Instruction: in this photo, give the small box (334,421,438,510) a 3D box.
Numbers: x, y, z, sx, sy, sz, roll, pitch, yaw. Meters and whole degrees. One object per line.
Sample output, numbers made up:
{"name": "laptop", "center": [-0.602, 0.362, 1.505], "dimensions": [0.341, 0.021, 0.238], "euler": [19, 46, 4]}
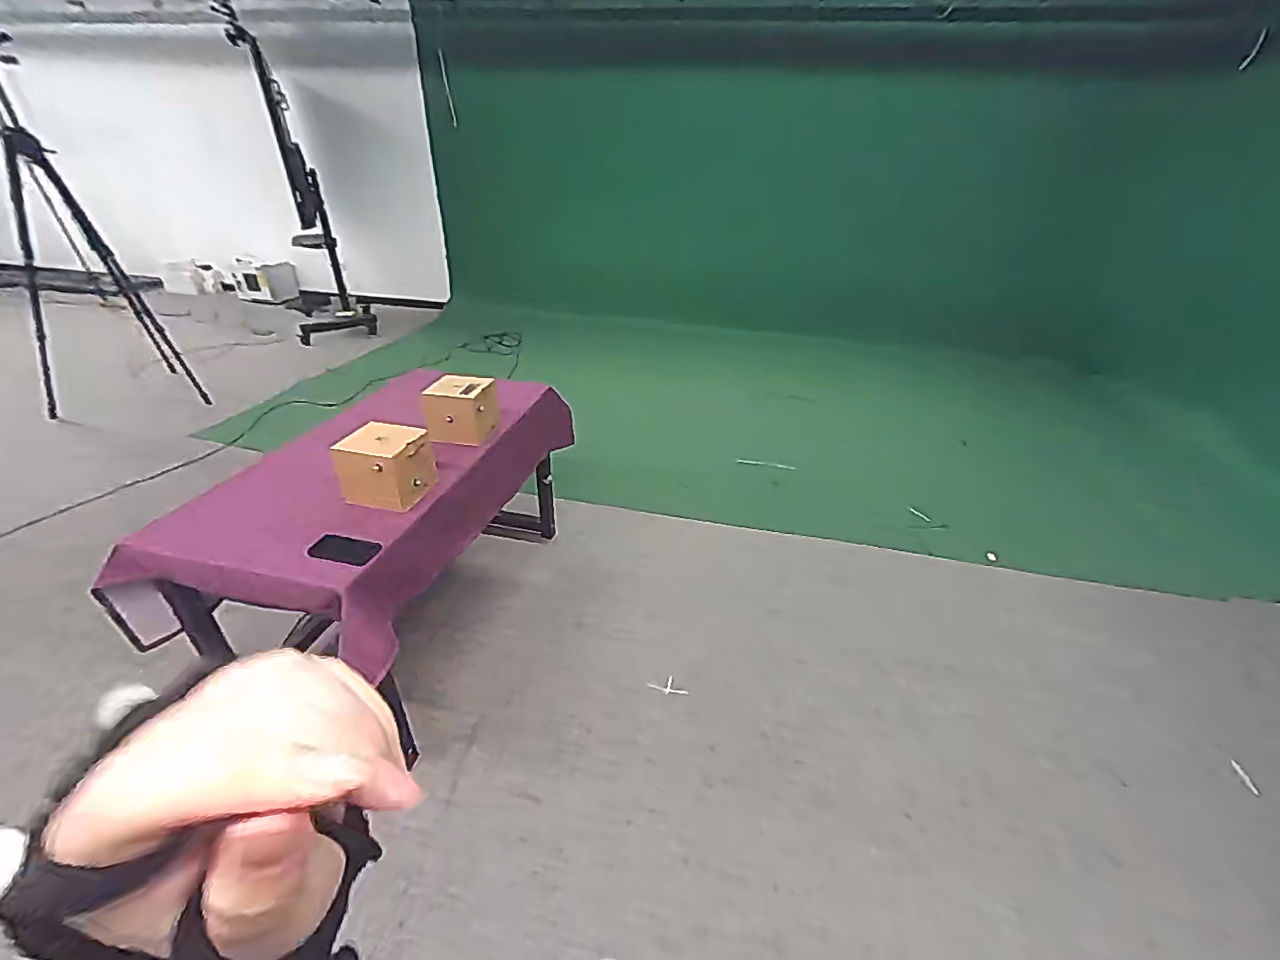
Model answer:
{"name": "small box", "center": [-0.664, -0.039, 1.435], "dimensions": [0.179, 0.176, 0.168], "euler": [10, 32, 10]}
